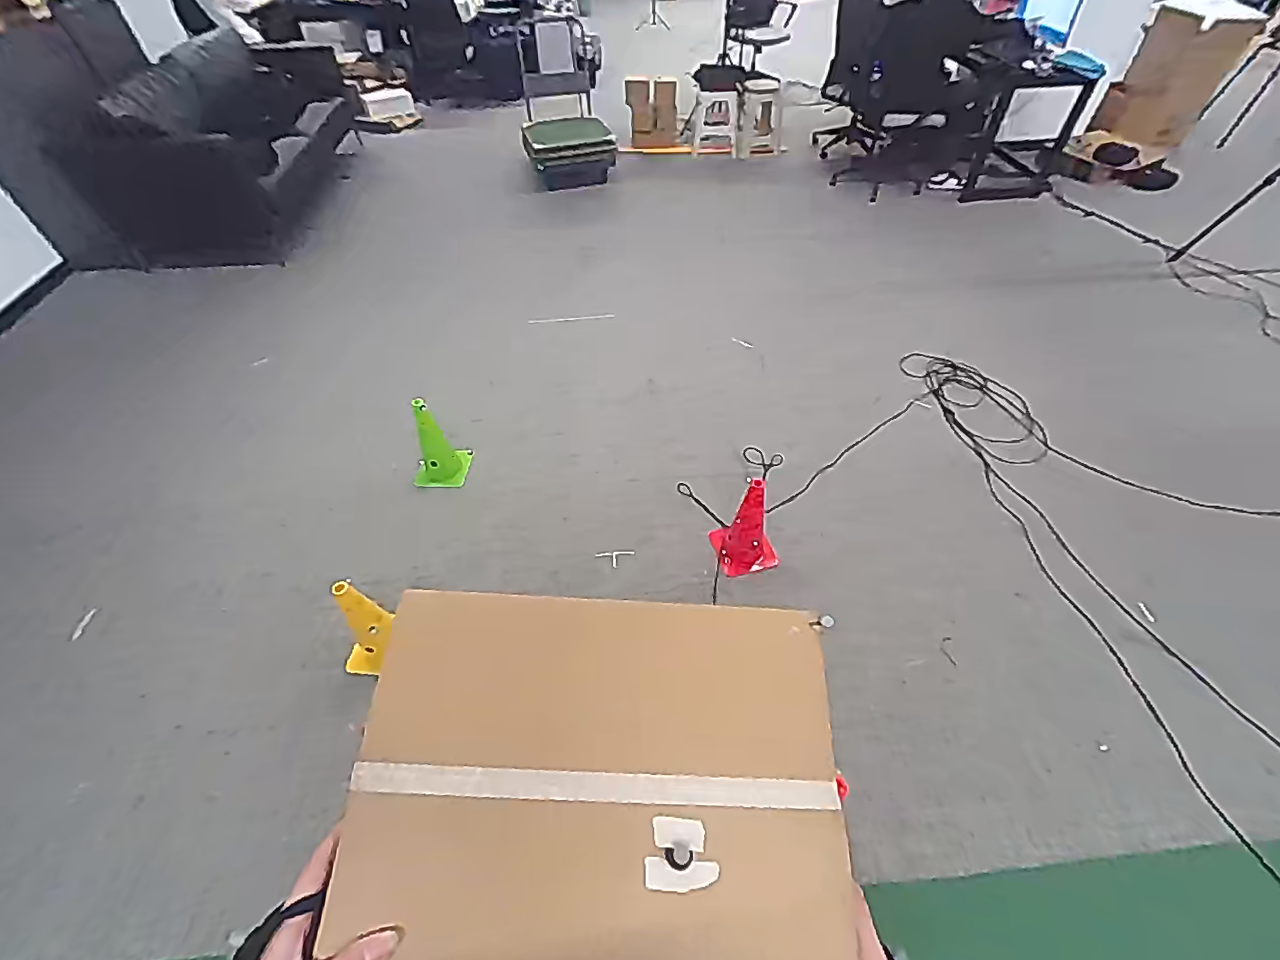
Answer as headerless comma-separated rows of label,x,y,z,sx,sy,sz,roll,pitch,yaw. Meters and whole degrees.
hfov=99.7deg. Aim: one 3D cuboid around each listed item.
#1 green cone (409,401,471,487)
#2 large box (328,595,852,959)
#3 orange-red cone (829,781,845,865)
green cone,-0.805,-0.158,2.067,0.200,0.368,0.202,0,50,1
large box,-0.042,0.327,0.596,0.408,0.320,0.320,3,63,-2
orange-red cone,0.408,0.754,1.252,0.199,0.360,0.198,3,50,1
